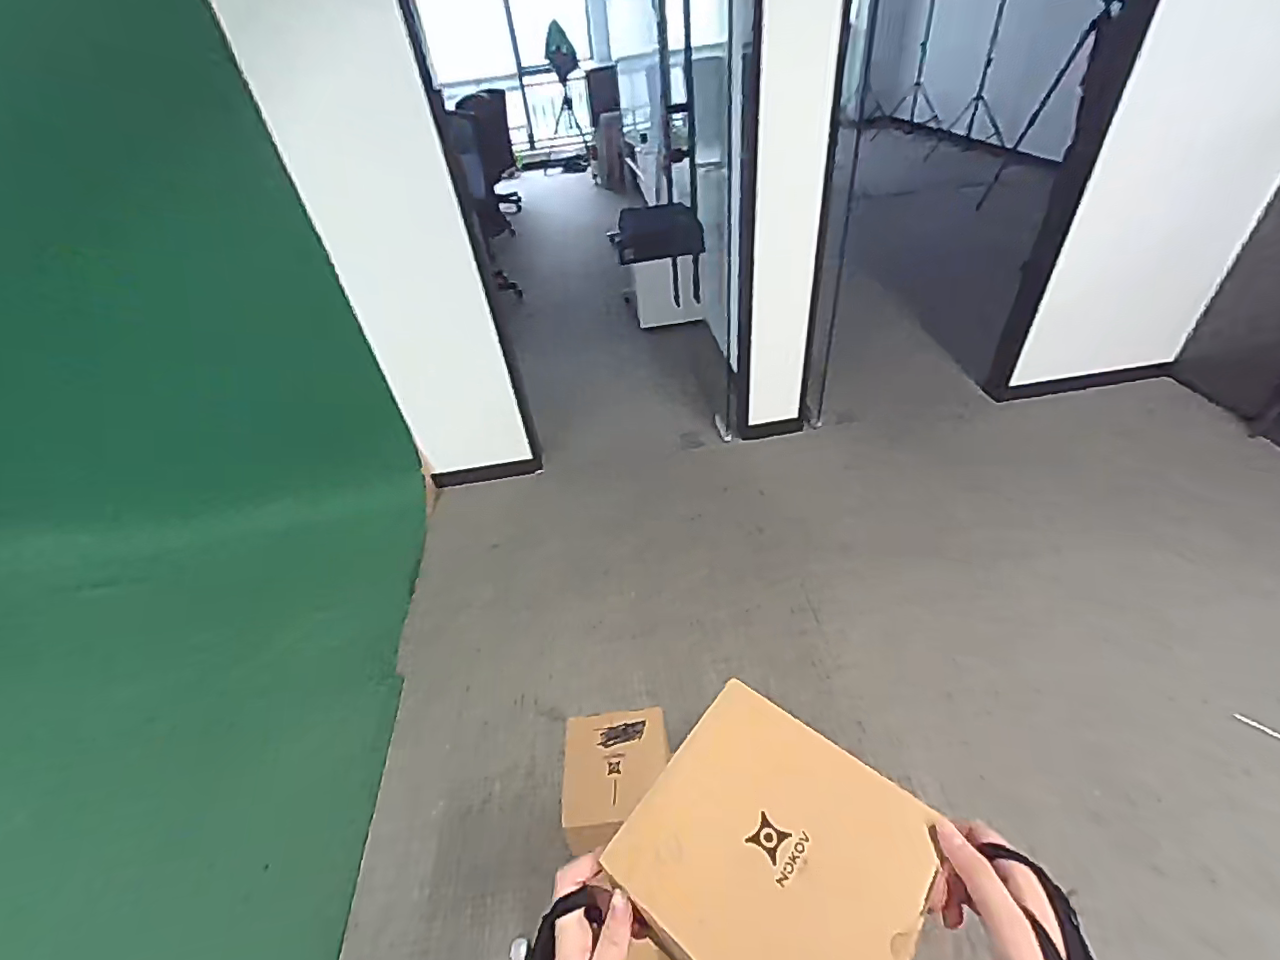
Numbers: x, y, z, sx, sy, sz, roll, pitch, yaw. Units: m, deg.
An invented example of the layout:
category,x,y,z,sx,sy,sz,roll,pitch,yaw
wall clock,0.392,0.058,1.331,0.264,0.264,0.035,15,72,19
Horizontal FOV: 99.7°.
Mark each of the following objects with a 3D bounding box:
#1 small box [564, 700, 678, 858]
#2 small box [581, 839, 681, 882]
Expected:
category,x,y,z,sx,sy,sz,roll,pitch,yaw
small box,-0.029,0.506,0.919,0.168,0.176,0.179,-8,38,2
small box,-0.018,0.627,1.031,0.168,0.176,0.179,-9,37,0
